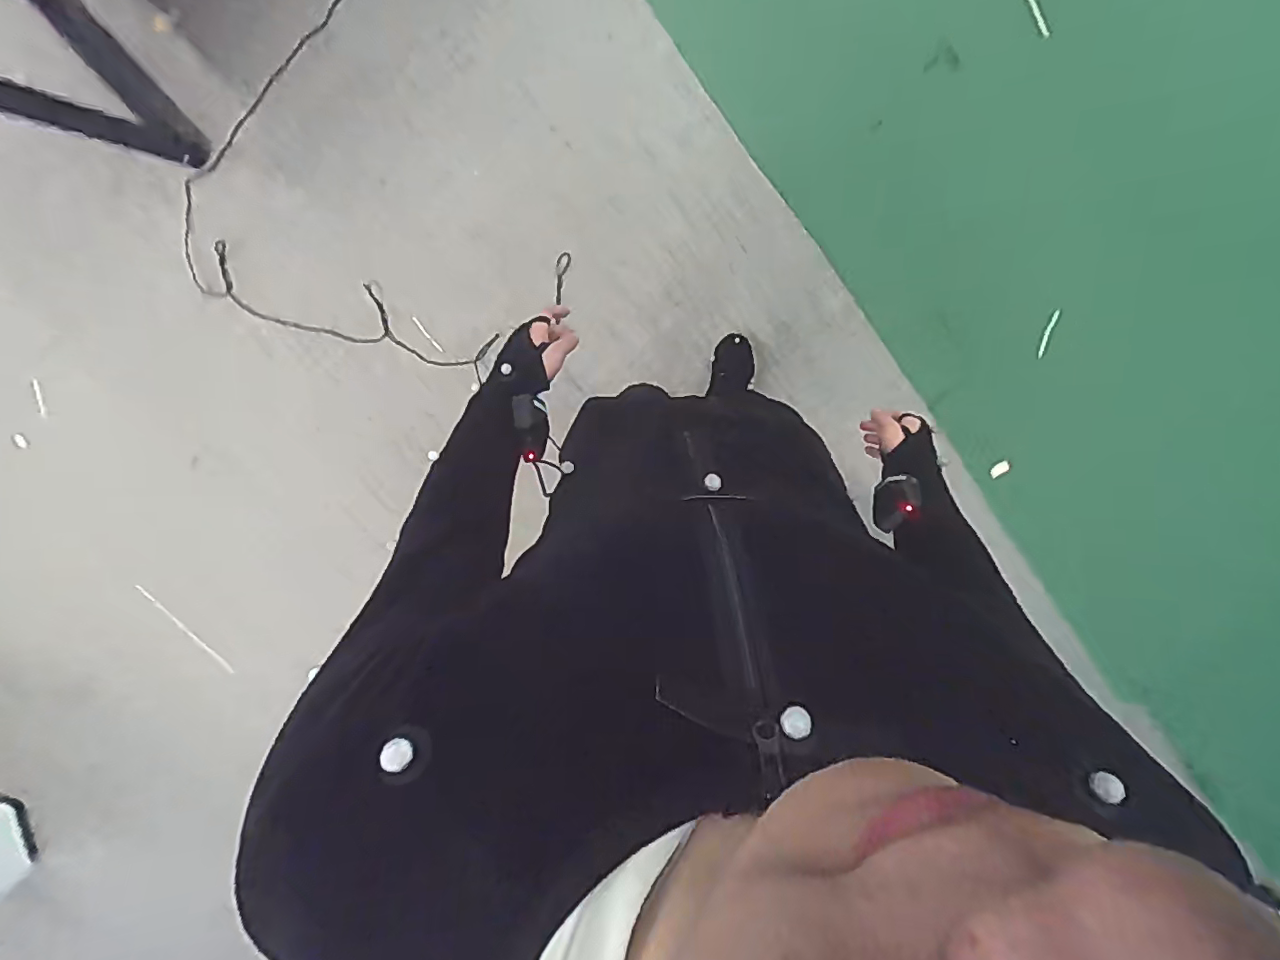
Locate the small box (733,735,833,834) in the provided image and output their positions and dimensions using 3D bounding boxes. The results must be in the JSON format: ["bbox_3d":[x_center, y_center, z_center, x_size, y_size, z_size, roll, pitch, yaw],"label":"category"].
[{"bbox_3d":[0.340,0.766,1.326,0.179,0.176,0.168,-31,101,14],"label":"small box"}]
